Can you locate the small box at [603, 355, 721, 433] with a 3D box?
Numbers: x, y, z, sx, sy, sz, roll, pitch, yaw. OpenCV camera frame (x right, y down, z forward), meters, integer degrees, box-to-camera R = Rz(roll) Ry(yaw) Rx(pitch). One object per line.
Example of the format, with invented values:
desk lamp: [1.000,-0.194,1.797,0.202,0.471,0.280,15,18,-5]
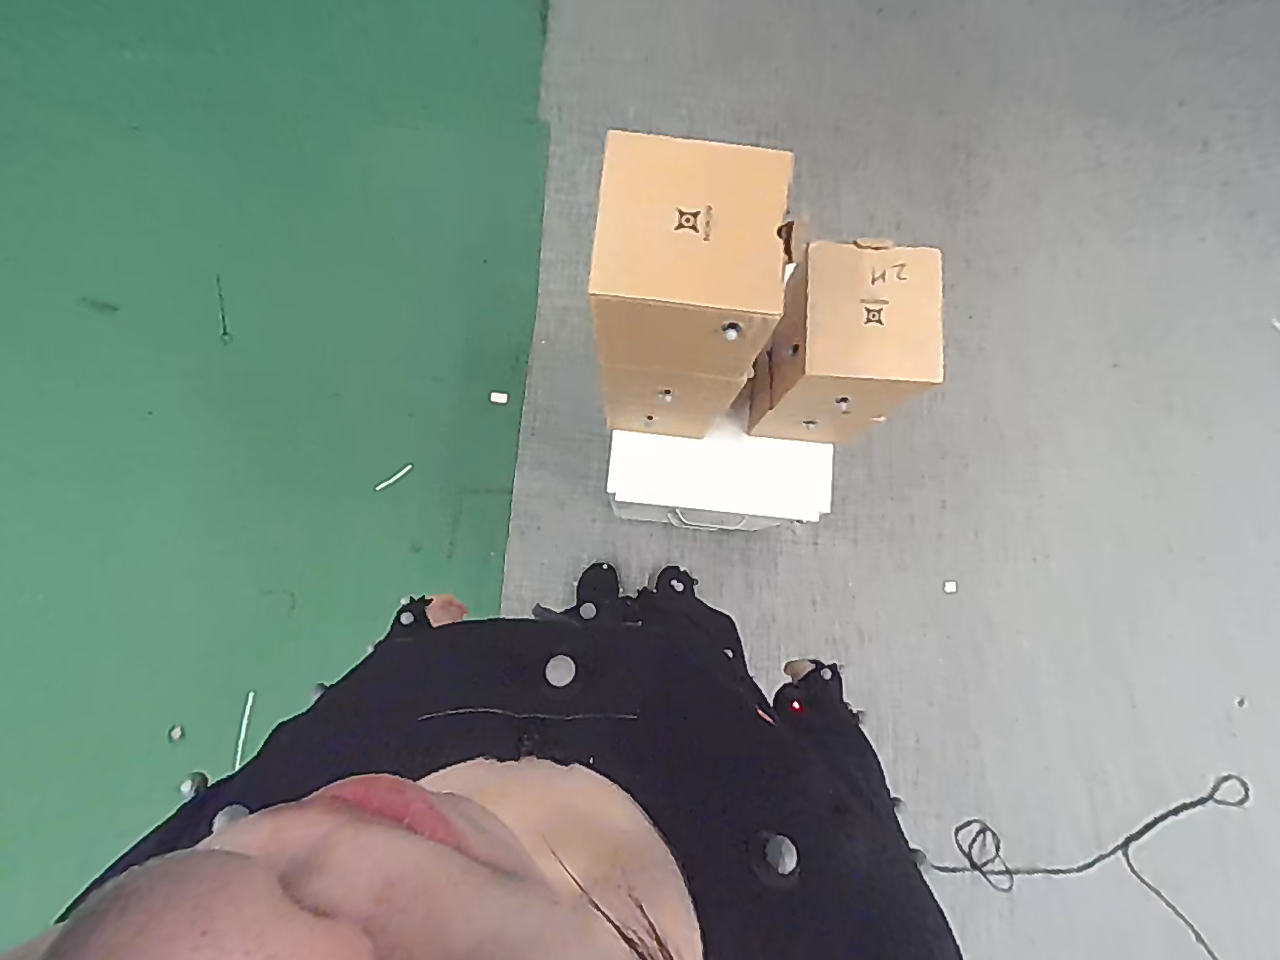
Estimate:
small box: [0.036,-0.181,0.898,0.179,0.176,0.168,6,82,-2]

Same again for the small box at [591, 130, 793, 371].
small box: [0.047,-0.227,0.575,0.179,0.176,0.168,6,81,-2]

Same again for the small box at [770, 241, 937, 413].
small box: [0.281,-0.197,0.741,0.168,0.176,0.179,4,82,0]

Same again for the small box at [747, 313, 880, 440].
small box: [0.283,-0.169,0.904,0.179,0.176,0.168,6,82,0]
